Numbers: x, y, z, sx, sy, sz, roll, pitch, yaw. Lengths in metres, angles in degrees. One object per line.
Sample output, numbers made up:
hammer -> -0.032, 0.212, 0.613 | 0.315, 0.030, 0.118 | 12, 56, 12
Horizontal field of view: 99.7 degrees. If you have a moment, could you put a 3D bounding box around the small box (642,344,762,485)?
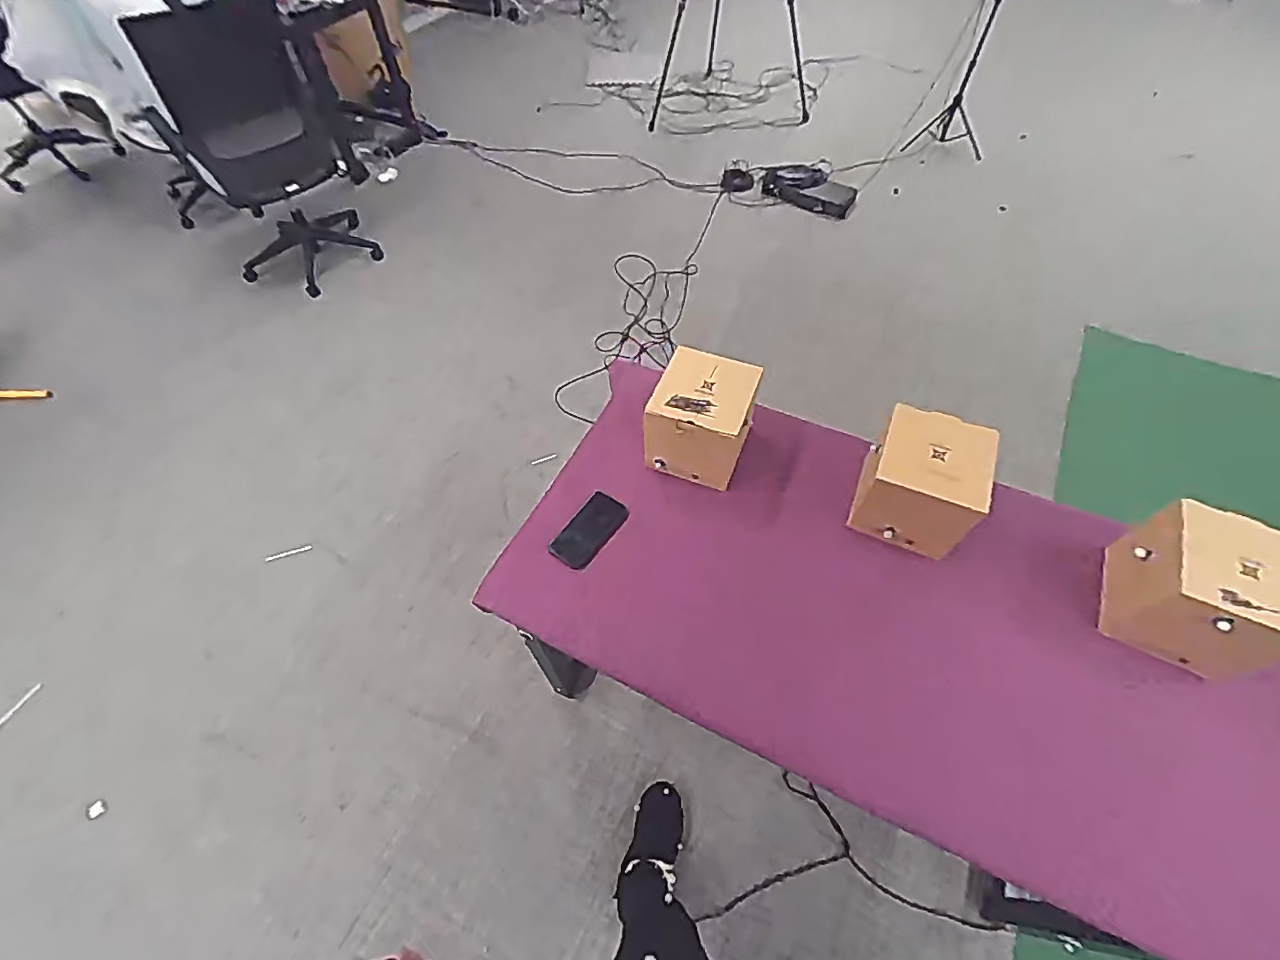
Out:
small box -> 0.113, -0.117, 1.003 | 0.168, 0.176, 0.179 | 18, 57, 13

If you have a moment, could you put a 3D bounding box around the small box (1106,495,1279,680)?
small box -> 0.832, 0.160, 0.794 | 0.168, 0.176, 0.179 | 23, 59, 18

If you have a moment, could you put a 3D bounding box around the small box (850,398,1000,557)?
small box -> 0.474, -0.001, 0.916 | 0.168, 0.176, 0.179 | 21, 59, 16
